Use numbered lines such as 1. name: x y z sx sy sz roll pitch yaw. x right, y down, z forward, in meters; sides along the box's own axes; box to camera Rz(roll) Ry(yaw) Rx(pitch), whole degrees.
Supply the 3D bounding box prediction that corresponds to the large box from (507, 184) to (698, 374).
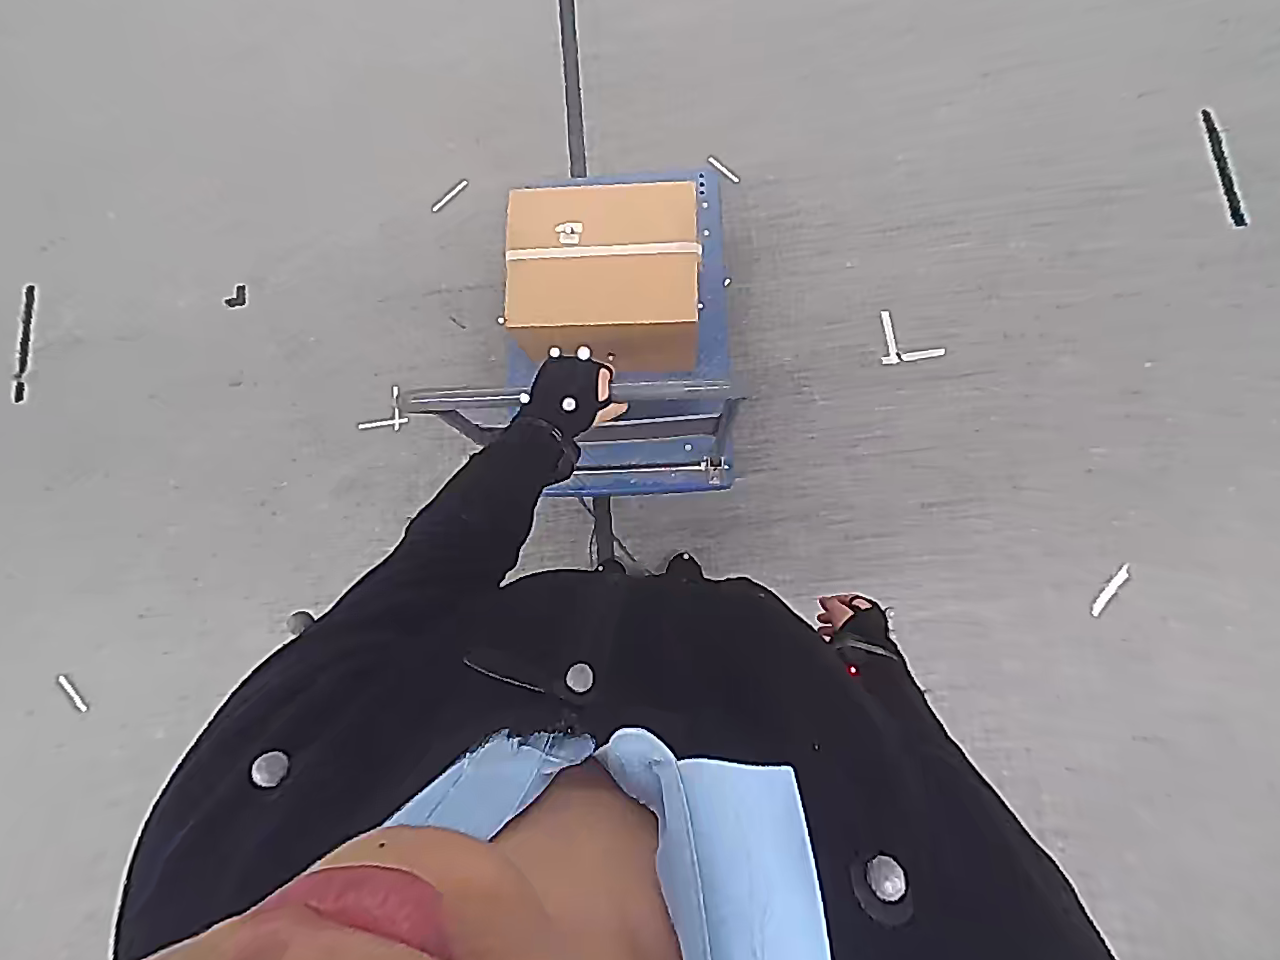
1. large box: -0.070 -0.453 1.289 0.408 0.320 0.320 -1 81 5
